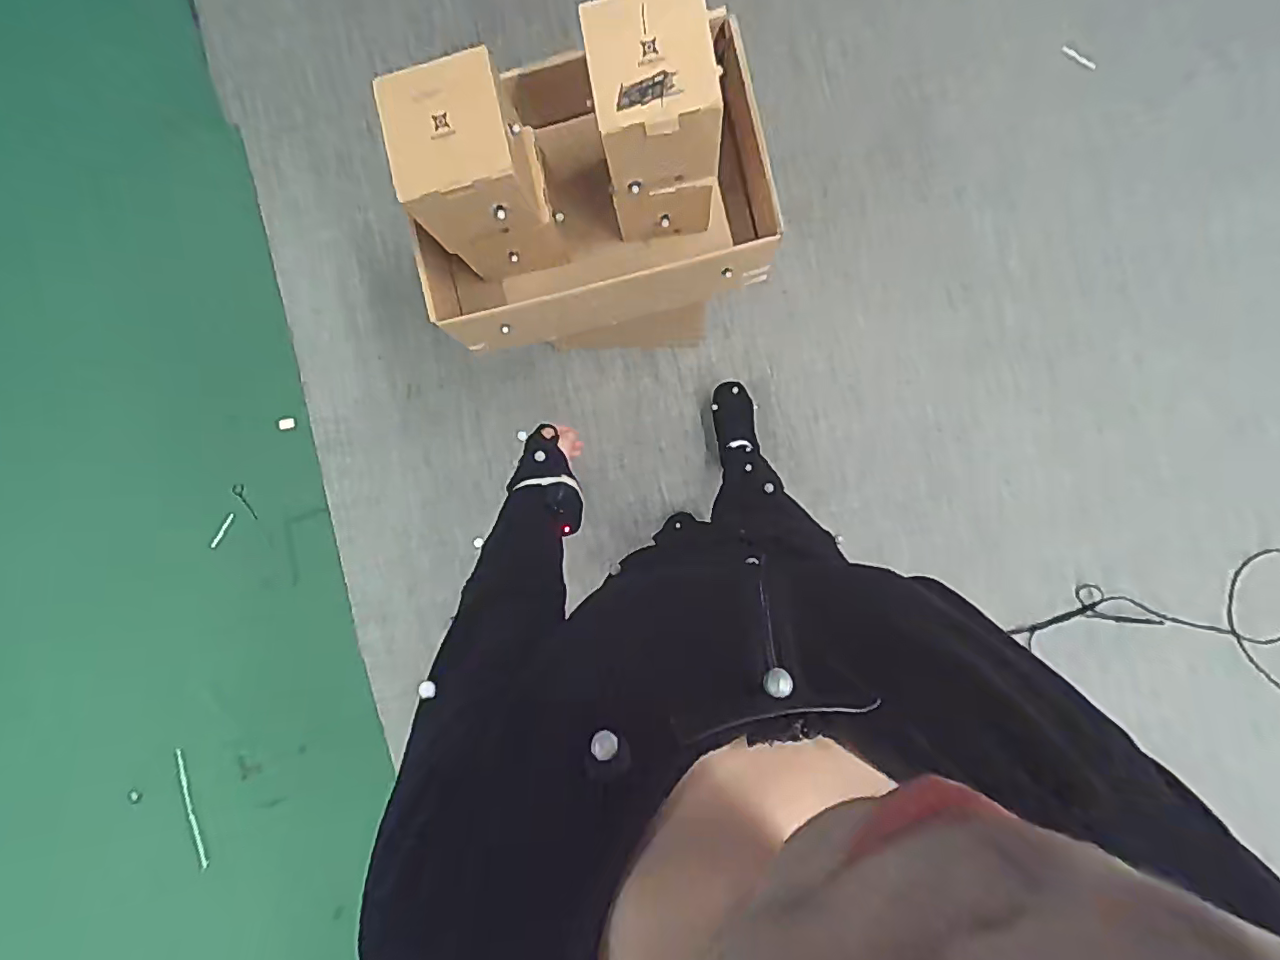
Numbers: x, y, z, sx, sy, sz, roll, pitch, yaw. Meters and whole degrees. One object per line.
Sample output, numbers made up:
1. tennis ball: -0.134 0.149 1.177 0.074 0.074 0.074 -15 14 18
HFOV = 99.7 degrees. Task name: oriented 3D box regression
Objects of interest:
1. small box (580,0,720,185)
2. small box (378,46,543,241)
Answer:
1. small box: 0.022 -0.556 0.780 0.168 0.176 0.179 -10 89 6
2. small box: -0.255 -0.482 0.809 0.168 0.176 0.179 -12 89 5
